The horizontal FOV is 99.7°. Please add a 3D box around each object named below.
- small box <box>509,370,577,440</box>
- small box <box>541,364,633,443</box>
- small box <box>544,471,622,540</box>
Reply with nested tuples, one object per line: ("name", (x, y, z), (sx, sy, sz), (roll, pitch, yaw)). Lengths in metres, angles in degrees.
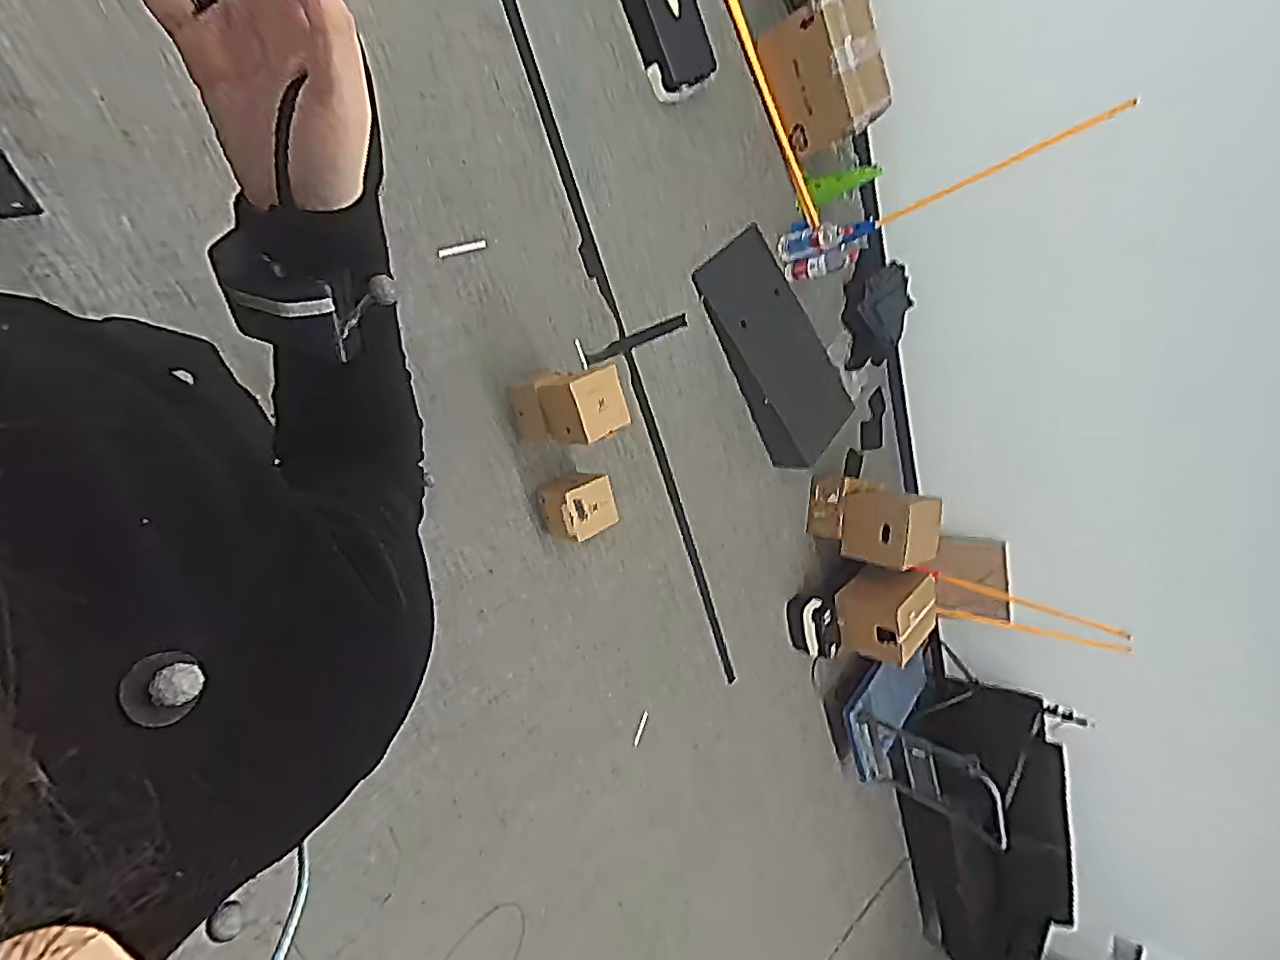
("small box", (-0.271, -0.230, 1.645), (0.168, 0.176, 0.179), (-27, 112, -37))
("small box", (-0.152, -0.215, 1.533), (0.168, 0.176, 0.179), (-32, 113, -35))
("small box", (-0.192, 0.078, 1.744), (0.179, 0.176, 0.168), (-27, 111, -37))
